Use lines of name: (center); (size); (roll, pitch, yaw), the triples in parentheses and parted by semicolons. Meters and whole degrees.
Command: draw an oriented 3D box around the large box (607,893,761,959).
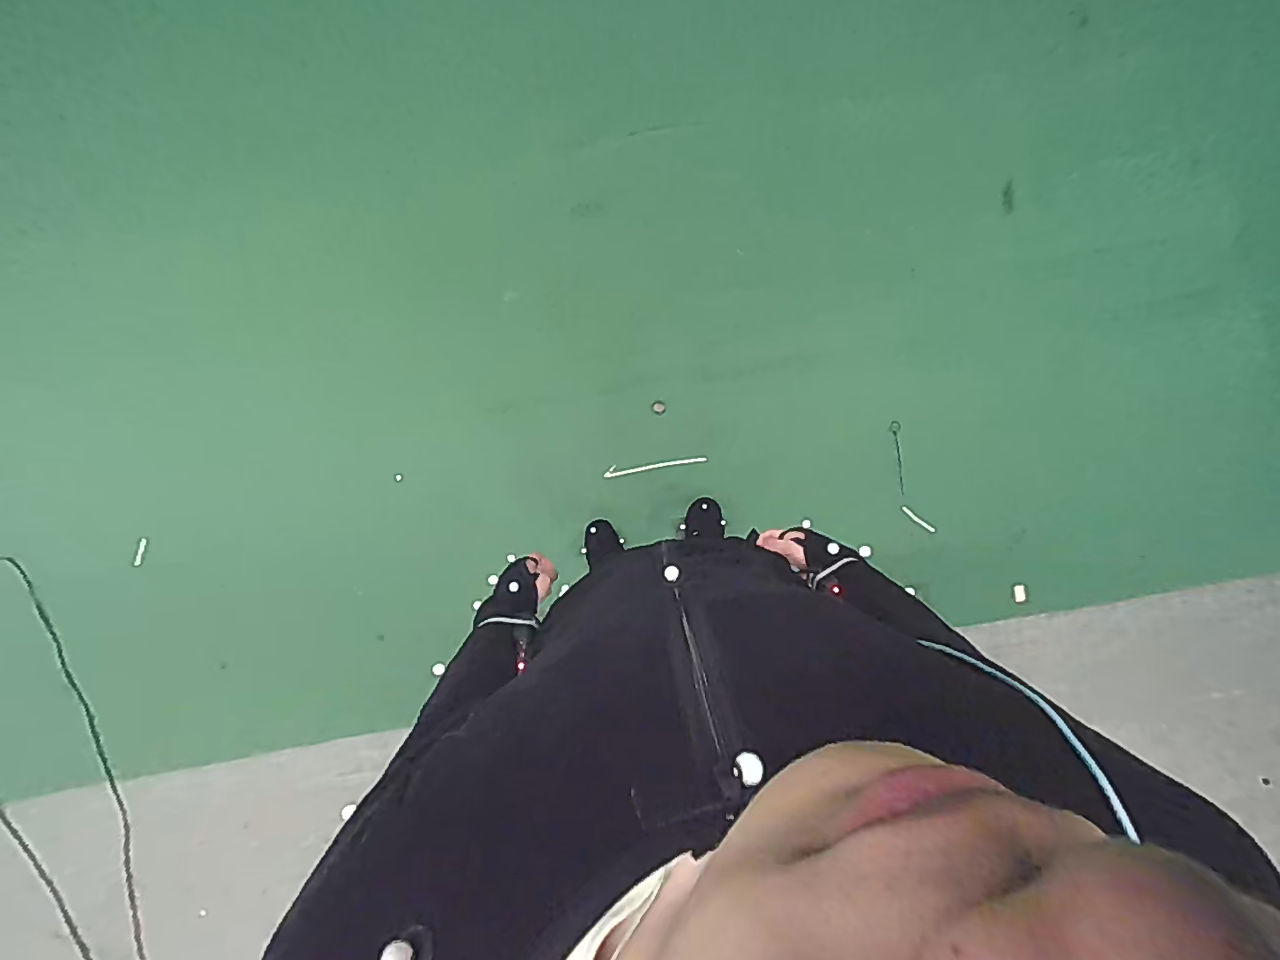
large box: (0.104, 1.398, 1.464); (0.408, 0.320, 0.320); (8, 89, 0)
